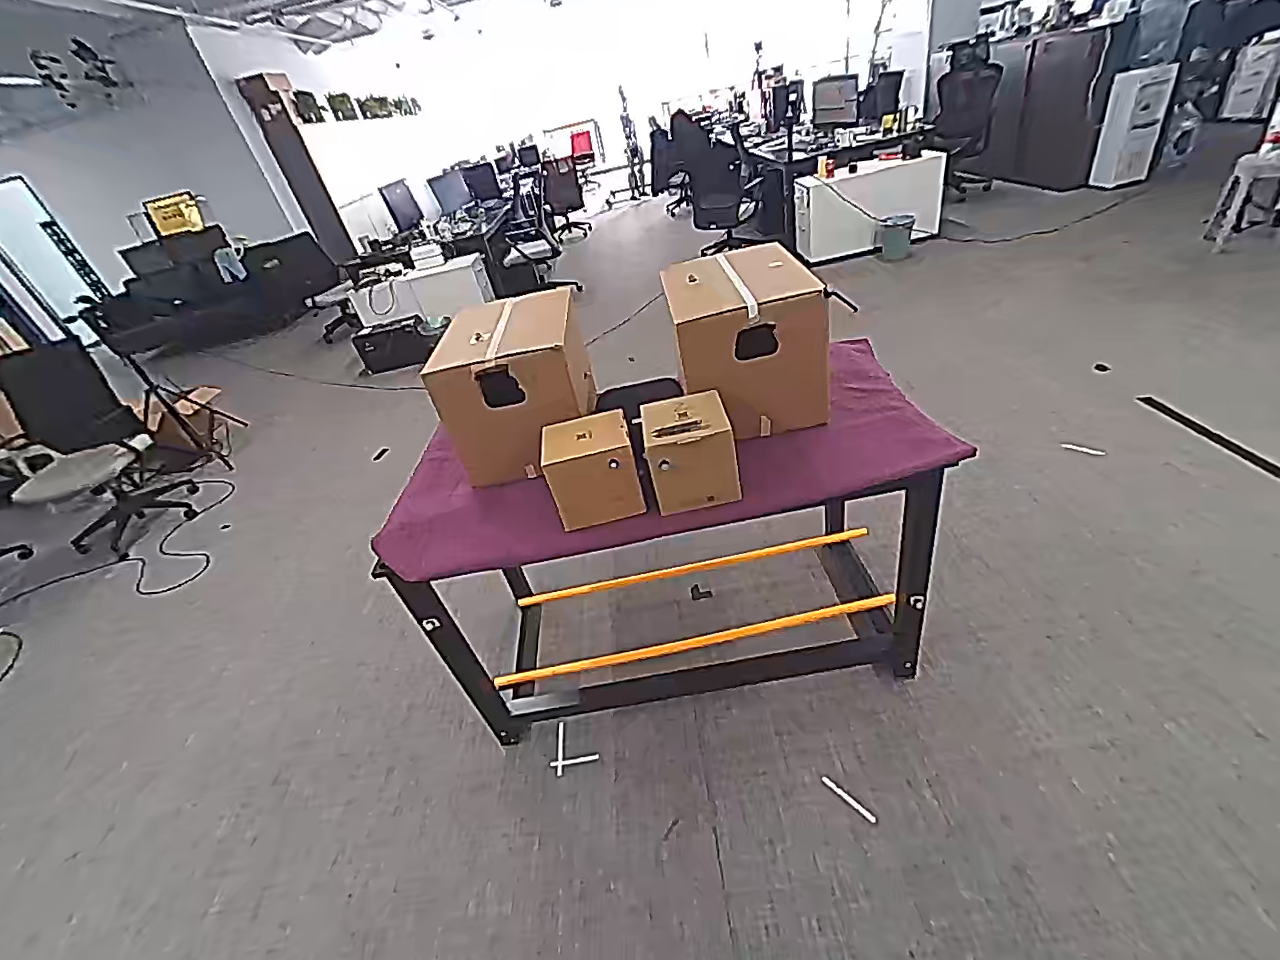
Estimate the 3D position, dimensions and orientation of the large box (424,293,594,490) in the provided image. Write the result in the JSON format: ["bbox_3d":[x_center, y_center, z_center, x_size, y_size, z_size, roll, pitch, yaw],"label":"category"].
[{"bbox_3d":[-0.301,-0.235,1.379,0.320,0.320,0.408,-12,38,3],"label":"large box"}]
